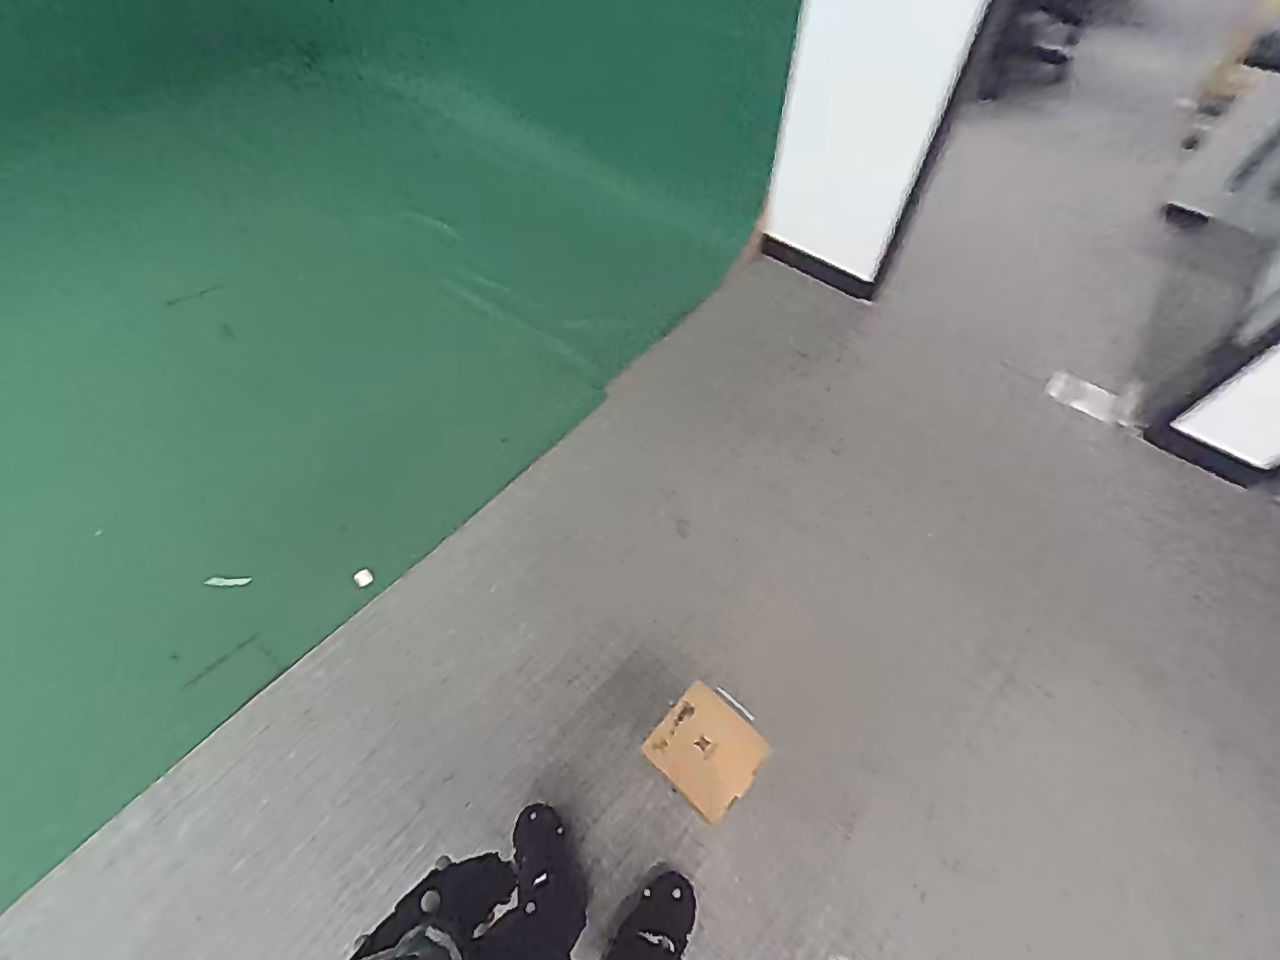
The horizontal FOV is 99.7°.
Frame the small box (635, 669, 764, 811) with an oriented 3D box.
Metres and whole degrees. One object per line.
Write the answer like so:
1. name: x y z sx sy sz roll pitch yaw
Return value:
1. small box: 0.110 0.499 1.043 0.179 0.176 0.168 40 68 21
